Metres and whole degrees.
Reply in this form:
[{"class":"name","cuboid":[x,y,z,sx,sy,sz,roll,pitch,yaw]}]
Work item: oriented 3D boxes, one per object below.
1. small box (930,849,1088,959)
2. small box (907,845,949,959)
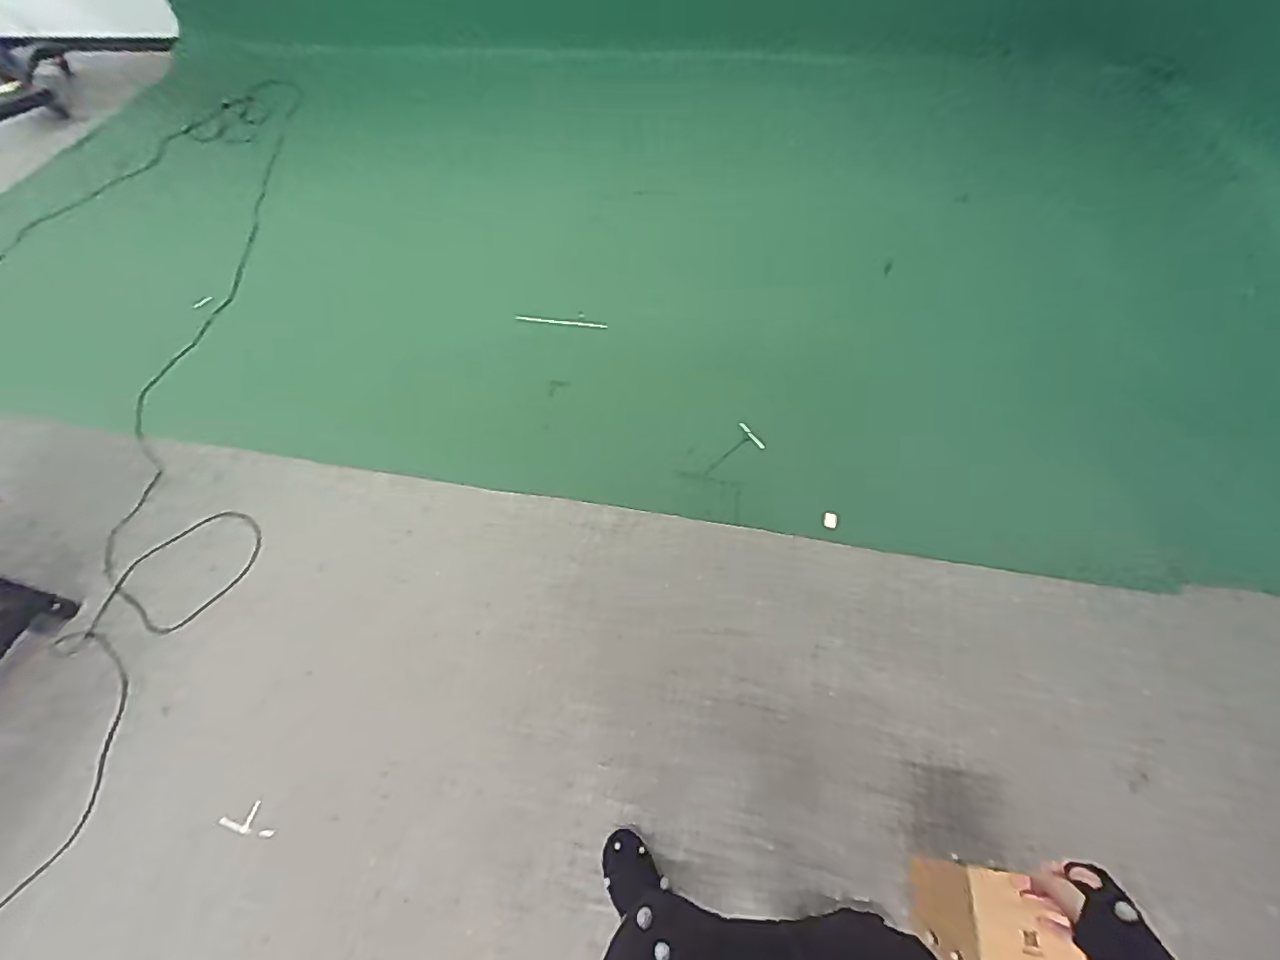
[{"class":"small box","cuboid":[0.625,0.757,0.932,0.168,0.176,0.179,5,58,7]},{"class":"small box","cuboid":[0.648,0.843,1.069,0.168,0.176,0.179,5,58,8]}]
